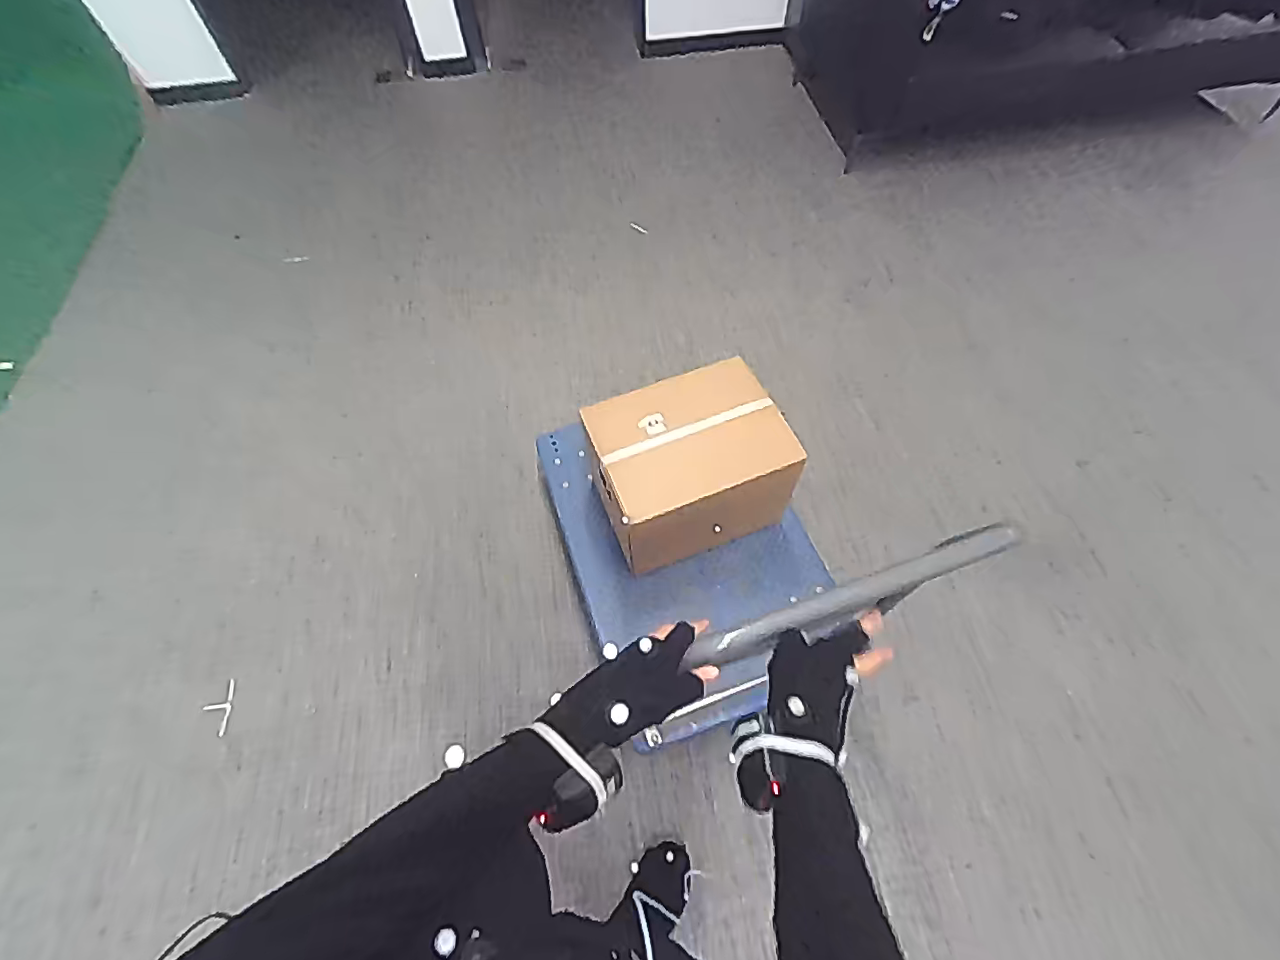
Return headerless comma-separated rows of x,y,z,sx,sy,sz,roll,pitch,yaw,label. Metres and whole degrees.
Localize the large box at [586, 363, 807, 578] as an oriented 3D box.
0.122,-0.015,1.303,0.408,0.320,0.320,-21,61,-9,large box
